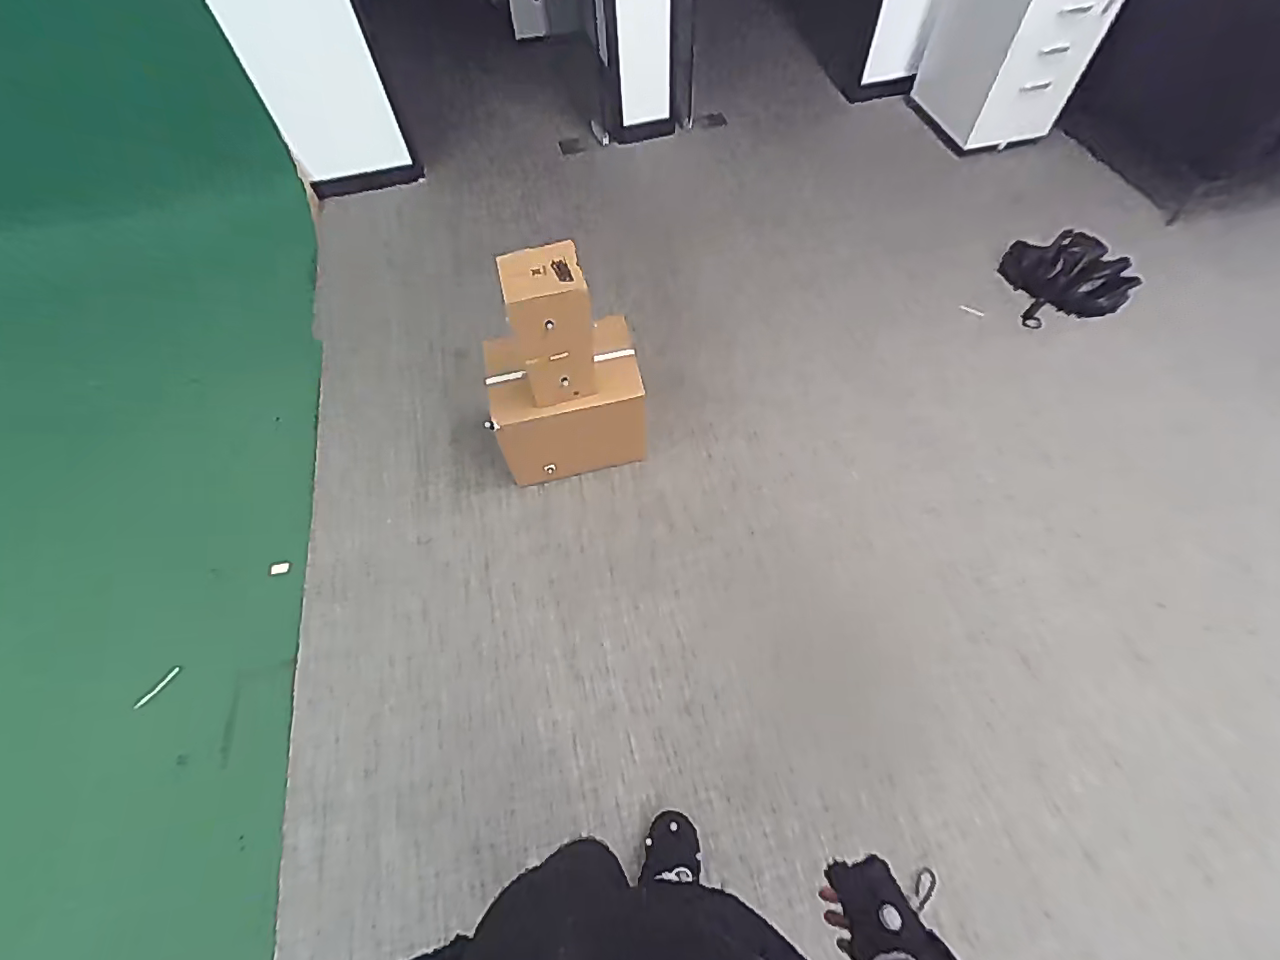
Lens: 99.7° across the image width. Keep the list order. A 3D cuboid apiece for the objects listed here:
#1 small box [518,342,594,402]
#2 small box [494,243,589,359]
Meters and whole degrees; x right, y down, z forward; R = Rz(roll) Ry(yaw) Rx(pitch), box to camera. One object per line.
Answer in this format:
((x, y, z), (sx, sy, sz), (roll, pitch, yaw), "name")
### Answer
((-0.220, -0.316, 1.366), (0.168, 0.176, 0.179), (-16, 61, -7), "small box")
((-0.216, -0.400, 1.224), (0.179, 0.176, 0.168), (-14, 60, -5), "small box")
